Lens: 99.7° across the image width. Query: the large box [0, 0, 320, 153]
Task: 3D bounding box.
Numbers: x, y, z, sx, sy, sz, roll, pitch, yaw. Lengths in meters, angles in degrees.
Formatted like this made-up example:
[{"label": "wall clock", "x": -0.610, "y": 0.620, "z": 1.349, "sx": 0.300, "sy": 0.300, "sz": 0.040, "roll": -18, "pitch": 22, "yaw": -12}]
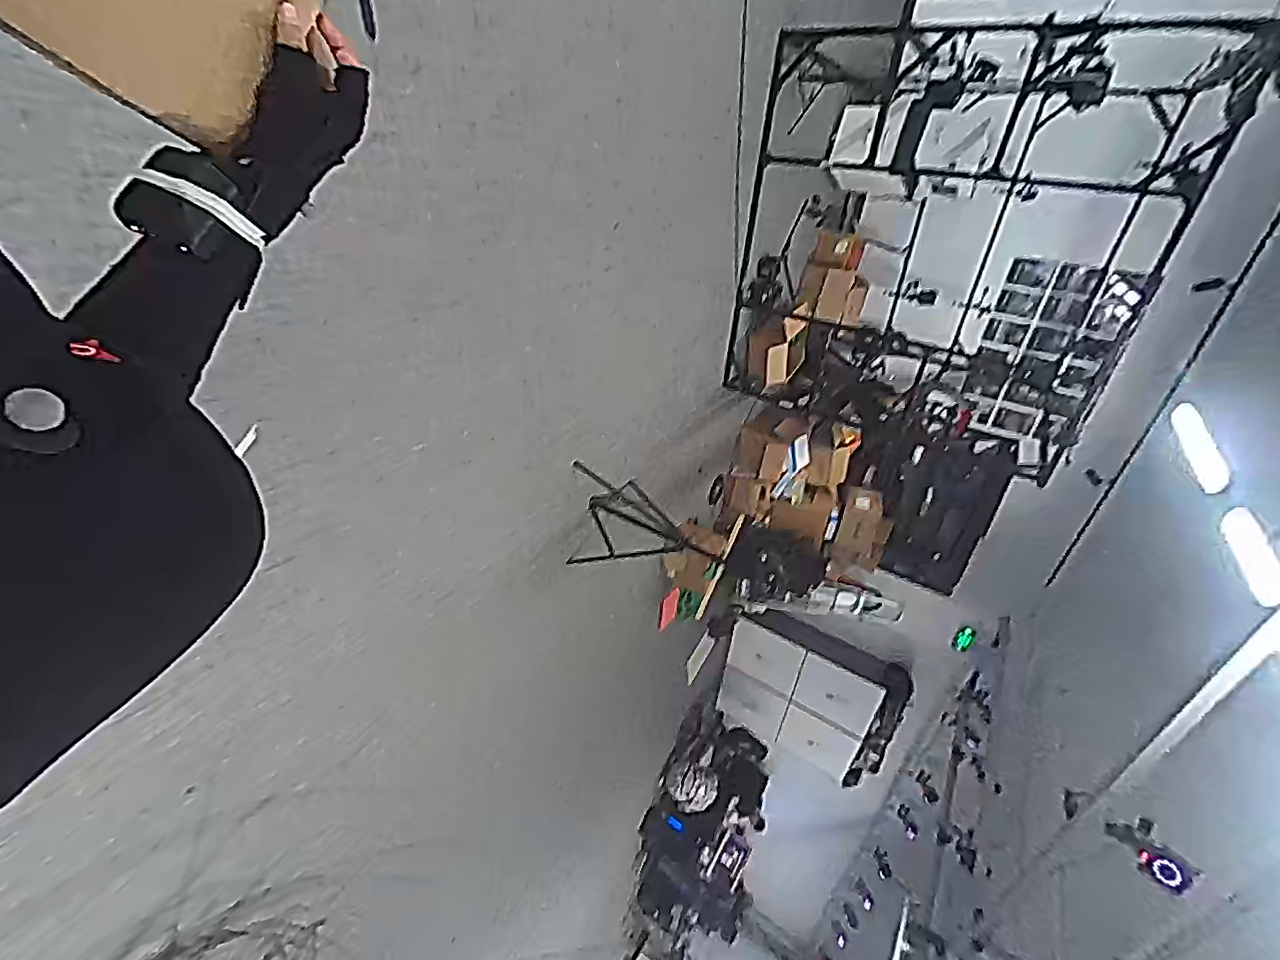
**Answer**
[{"label": "large box", "x": -0.446, "y": -0.500, "z": 0.323, "sx": 0.320, "sy": 0.320, "sz": 0.408, "roll": -58, "pitch": 153, "yaw": 4}]
